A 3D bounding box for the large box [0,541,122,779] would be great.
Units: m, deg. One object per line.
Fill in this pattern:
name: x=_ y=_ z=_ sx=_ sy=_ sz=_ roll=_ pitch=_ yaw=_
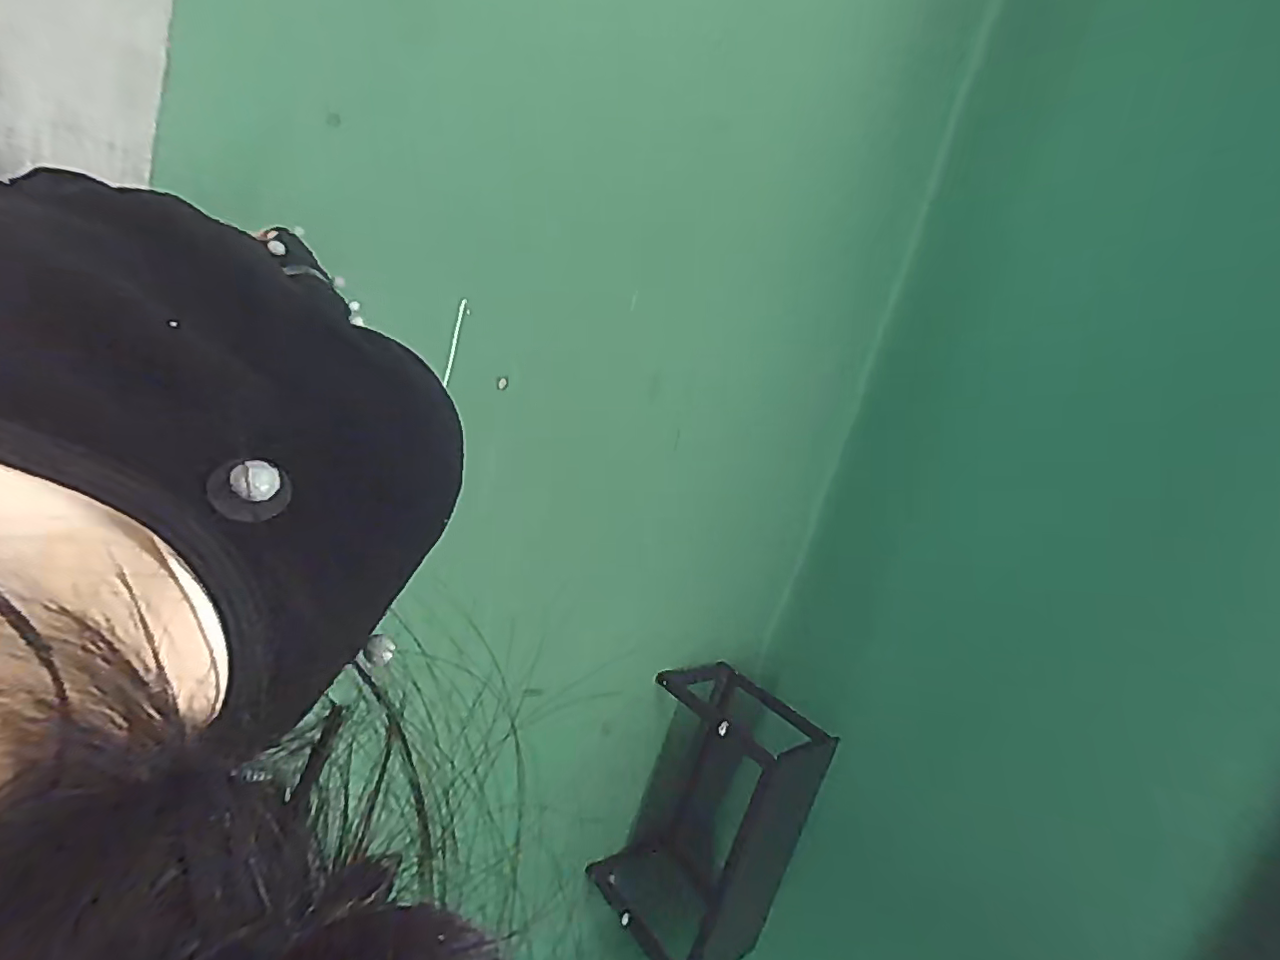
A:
large box: x=-1.238 y=0.344 z=0.967 sx=0.408 sy=0.320 sz=0.320 roll=-12 pitch=117 yaw=-42
